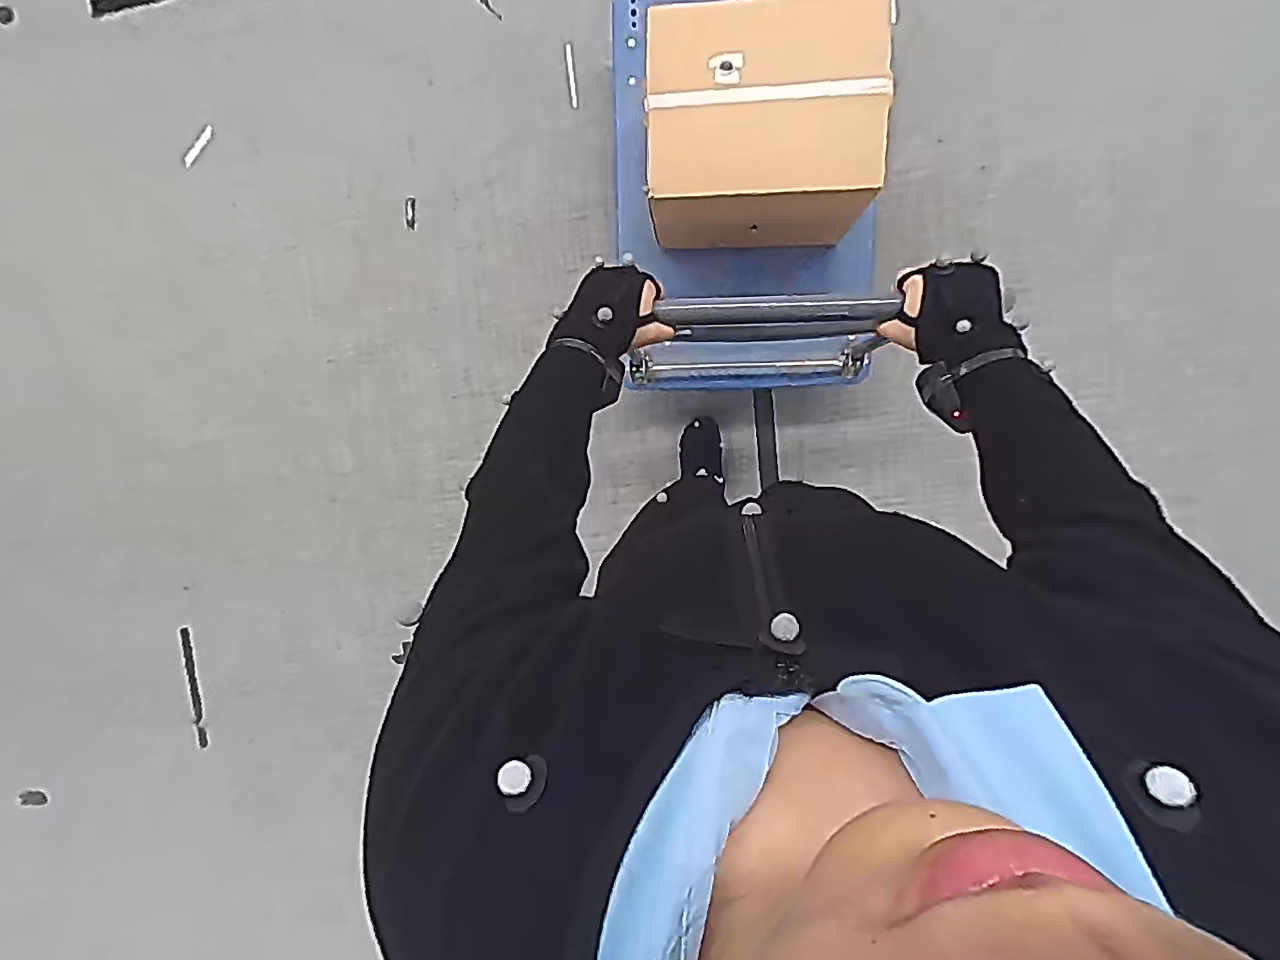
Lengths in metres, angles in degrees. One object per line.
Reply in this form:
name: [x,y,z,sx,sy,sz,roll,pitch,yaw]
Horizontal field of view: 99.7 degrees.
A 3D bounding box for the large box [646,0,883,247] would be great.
large box: [0.230,-0.678,1.080,0.408,0.320,0.320,0,96,7]
